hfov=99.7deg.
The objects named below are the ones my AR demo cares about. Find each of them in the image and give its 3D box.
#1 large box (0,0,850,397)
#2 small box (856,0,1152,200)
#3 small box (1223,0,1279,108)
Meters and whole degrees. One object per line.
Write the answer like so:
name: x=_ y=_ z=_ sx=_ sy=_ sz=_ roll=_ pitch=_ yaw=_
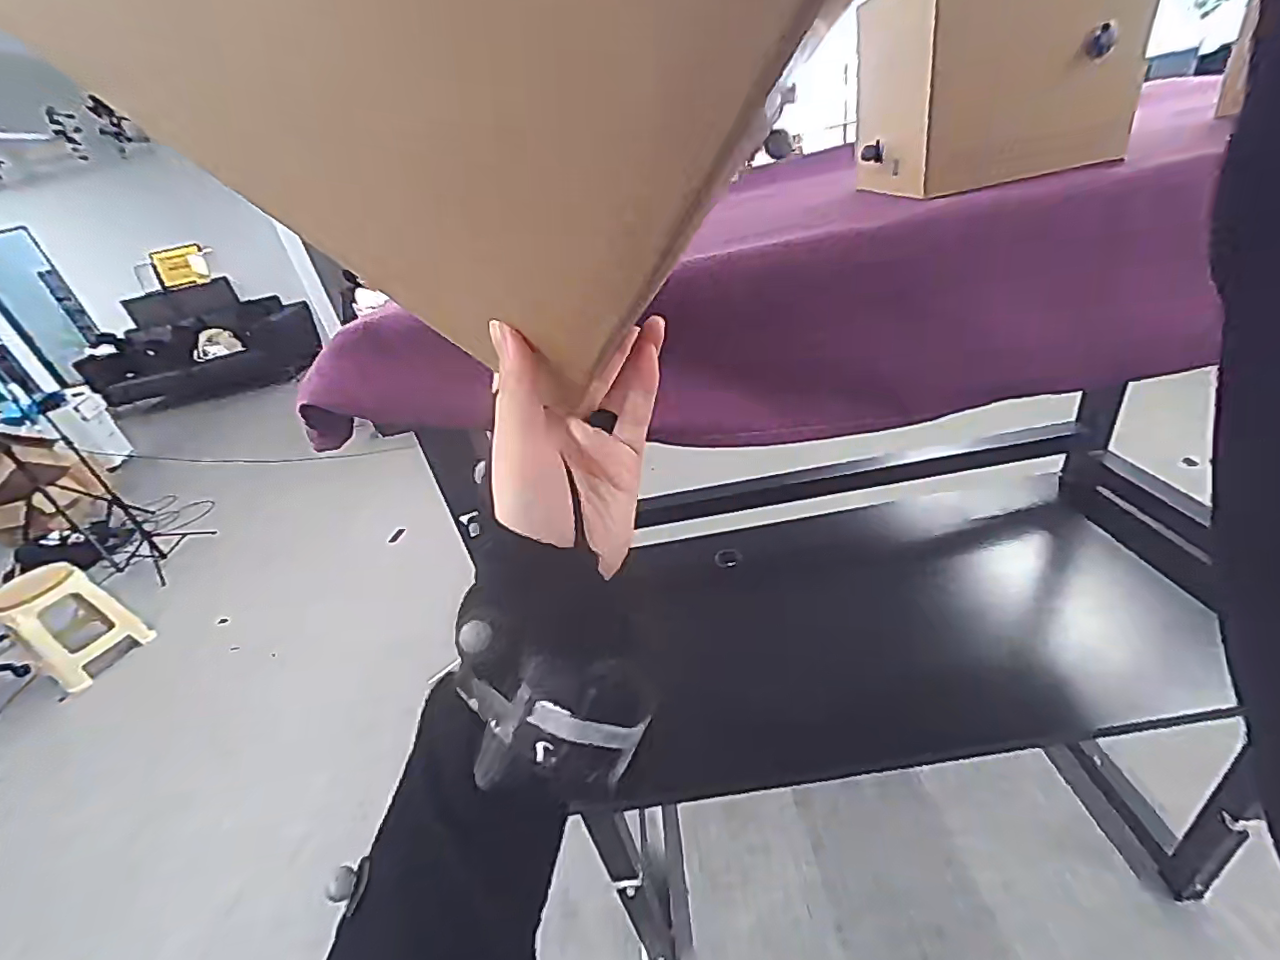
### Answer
large box: x=-0.082 y=-0.300 z=0.180 sx=0.320 sy=0.408 sz=0.320 roll=-60 pitch=7 yaw=-24
small box: x=0.314 y=-0.373 z=0.499 sx=0.179 sy=0.176 sz=0.168 roll=-11 pitch=30 yaw=4
small box: x=0.672 y=-0.430 z=0.454 sx=0.179 sy=0.176 sz=0.168 roll=-12 pitch=30 yaw=1
